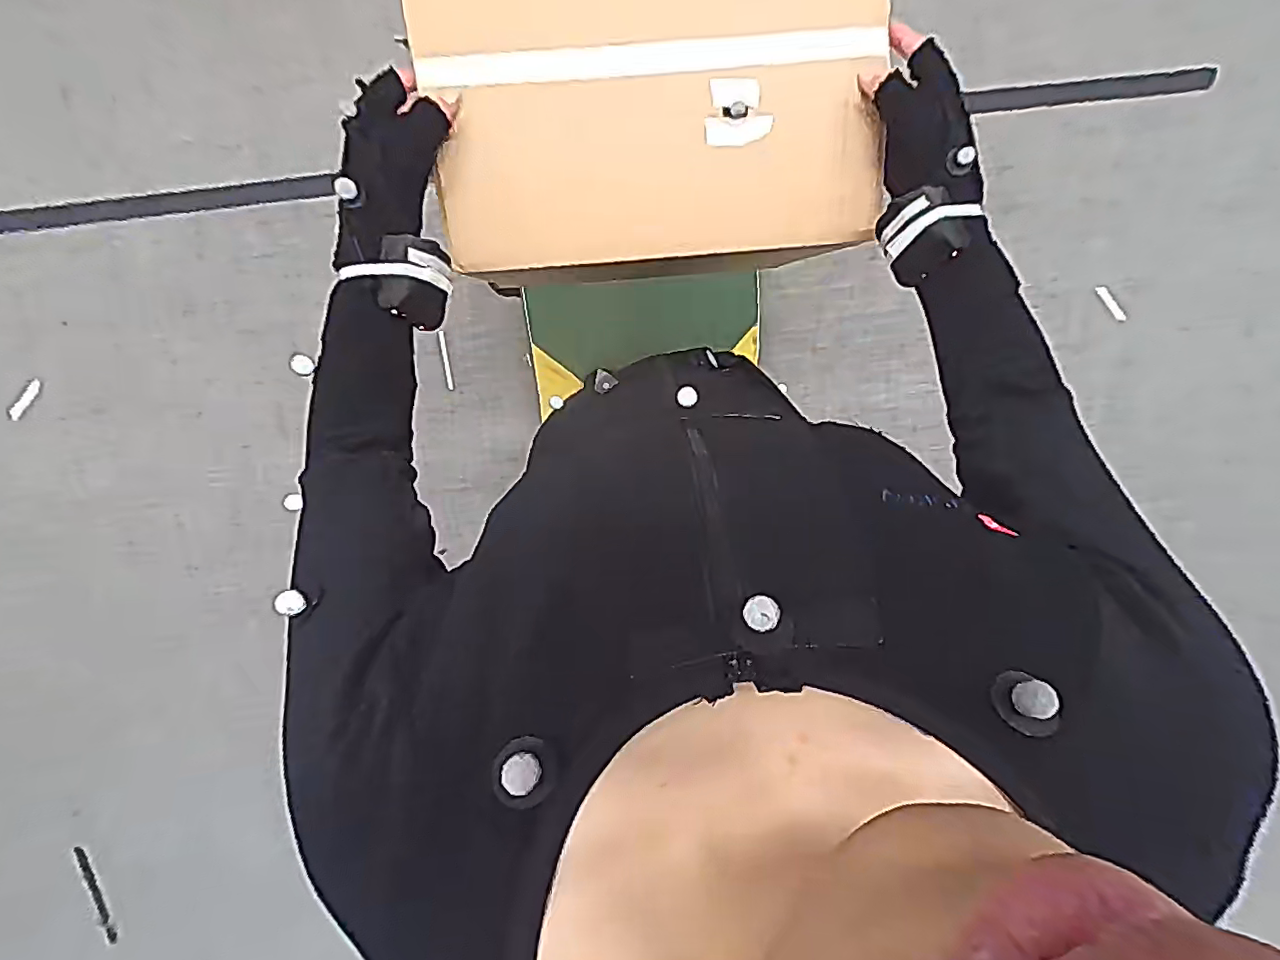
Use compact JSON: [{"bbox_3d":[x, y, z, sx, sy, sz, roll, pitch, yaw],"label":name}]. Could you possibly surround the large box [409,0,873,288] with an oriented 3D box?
[{"bbox_3d":[-0.004,-0.409,0.616,0.408,0.320,0.320,-6,108,-3],"label":"large box"}]
